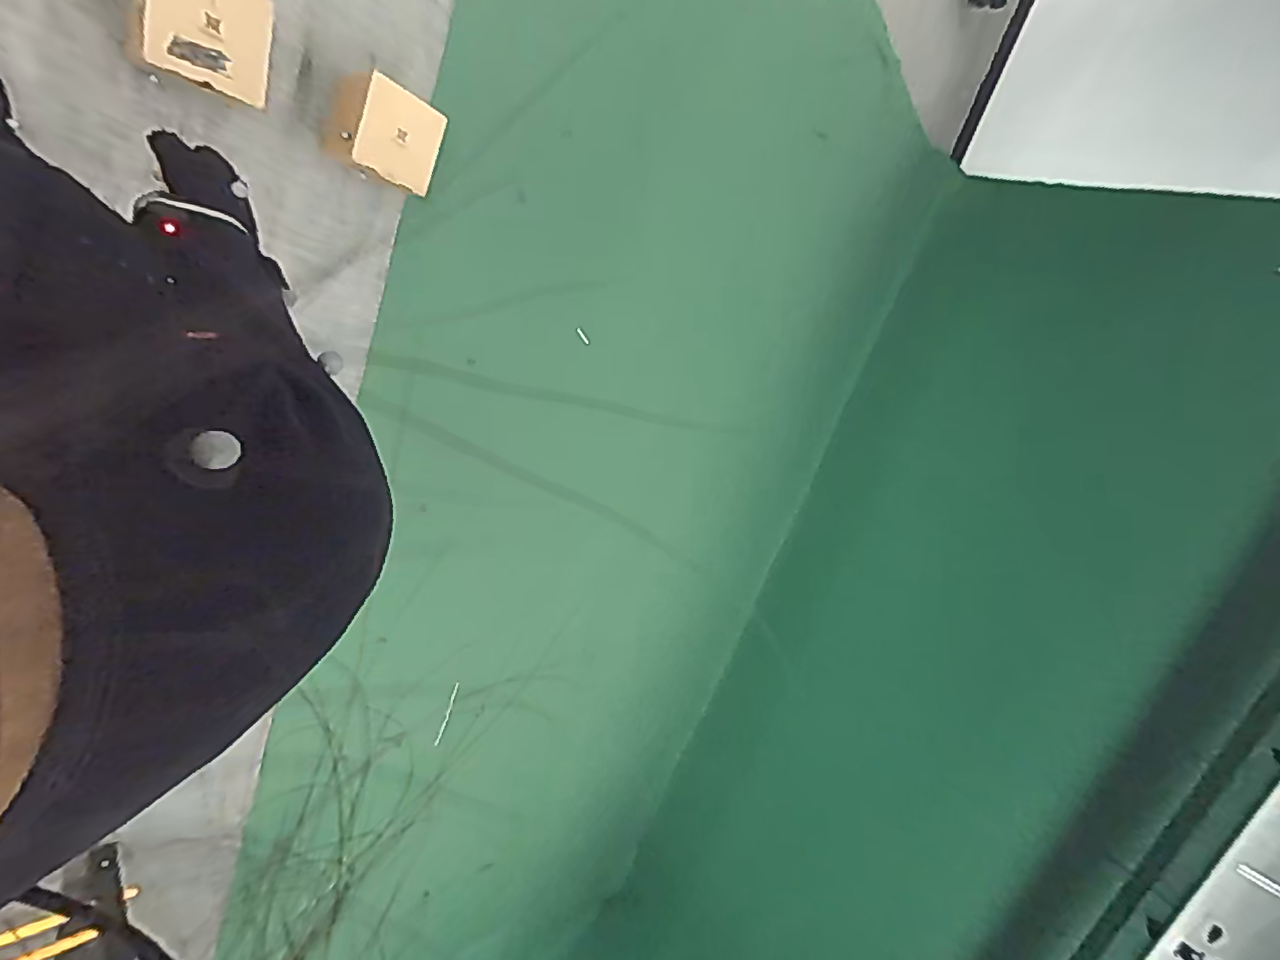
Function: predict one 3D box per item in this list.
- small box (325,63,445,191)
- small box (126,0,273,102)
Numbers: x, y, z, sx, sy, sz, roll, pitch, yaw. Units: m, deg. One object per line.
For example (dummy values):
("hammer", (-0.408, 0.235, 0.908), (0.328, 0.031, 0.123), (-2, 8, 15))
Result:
("small box", (-0.565, -0.772, 1.191), (0.168, 0.176, 0.179), (7, 109, -51))
("small box", (-0.764, -0.790, 0.936), (0.168, 0.176, 0.179), (-1, 115, -50))
